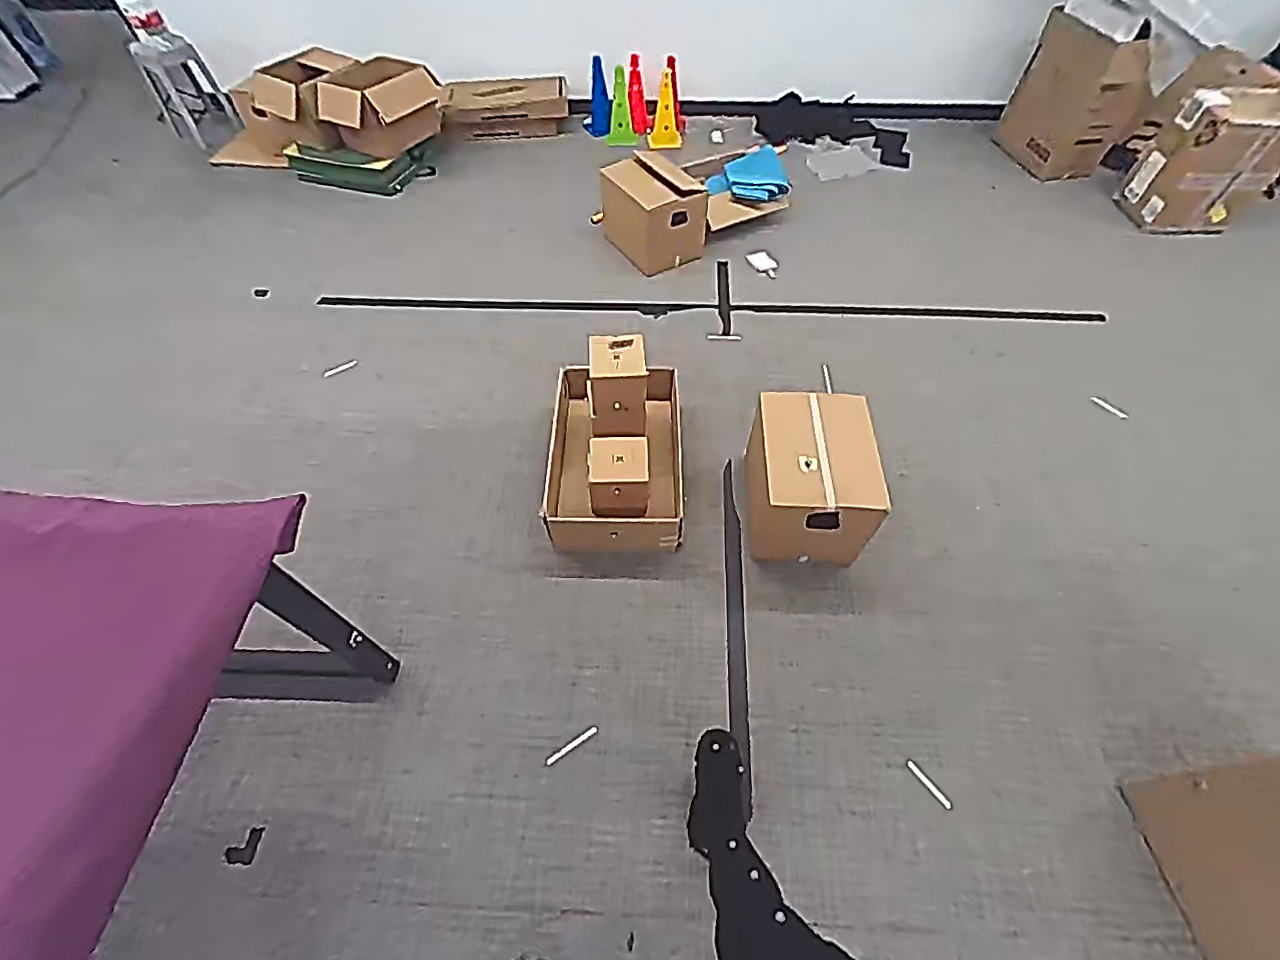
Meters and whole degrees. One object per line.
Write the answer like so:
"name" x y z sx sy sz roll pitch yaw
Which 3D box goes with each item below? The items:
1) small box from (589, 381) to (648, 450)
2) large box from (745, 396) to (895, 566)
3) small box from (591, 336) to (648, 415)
"small box" -0.074 -0.216 1.788 0.179 0.176 0.168 -6 56 -5
"large box" 0.503 0.004 1.608 0.320 0.320 0.408 2 56 3
"small box" -0.065 -0.319 1.658 0.168 0.176 0.179 -3 57 -2
